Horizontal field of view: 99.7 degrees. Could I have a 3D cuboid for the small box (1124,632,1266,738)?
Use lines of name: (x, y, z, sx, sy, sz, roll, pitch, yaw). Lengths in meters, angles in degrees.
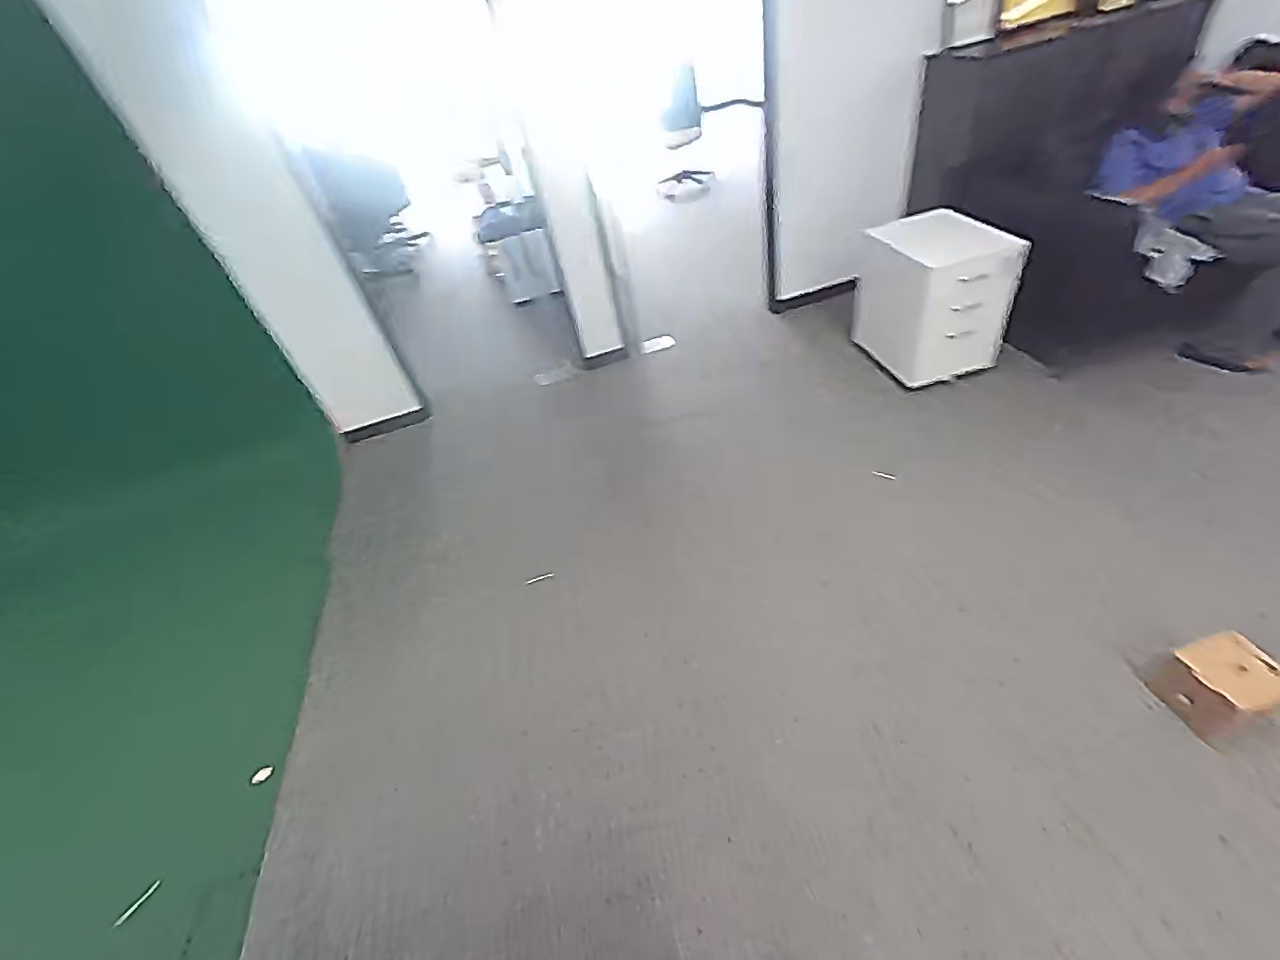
small box: (1.400, 0.528, 1.384, 0.179, 0.176, 0.168, -17, 40, -7)
